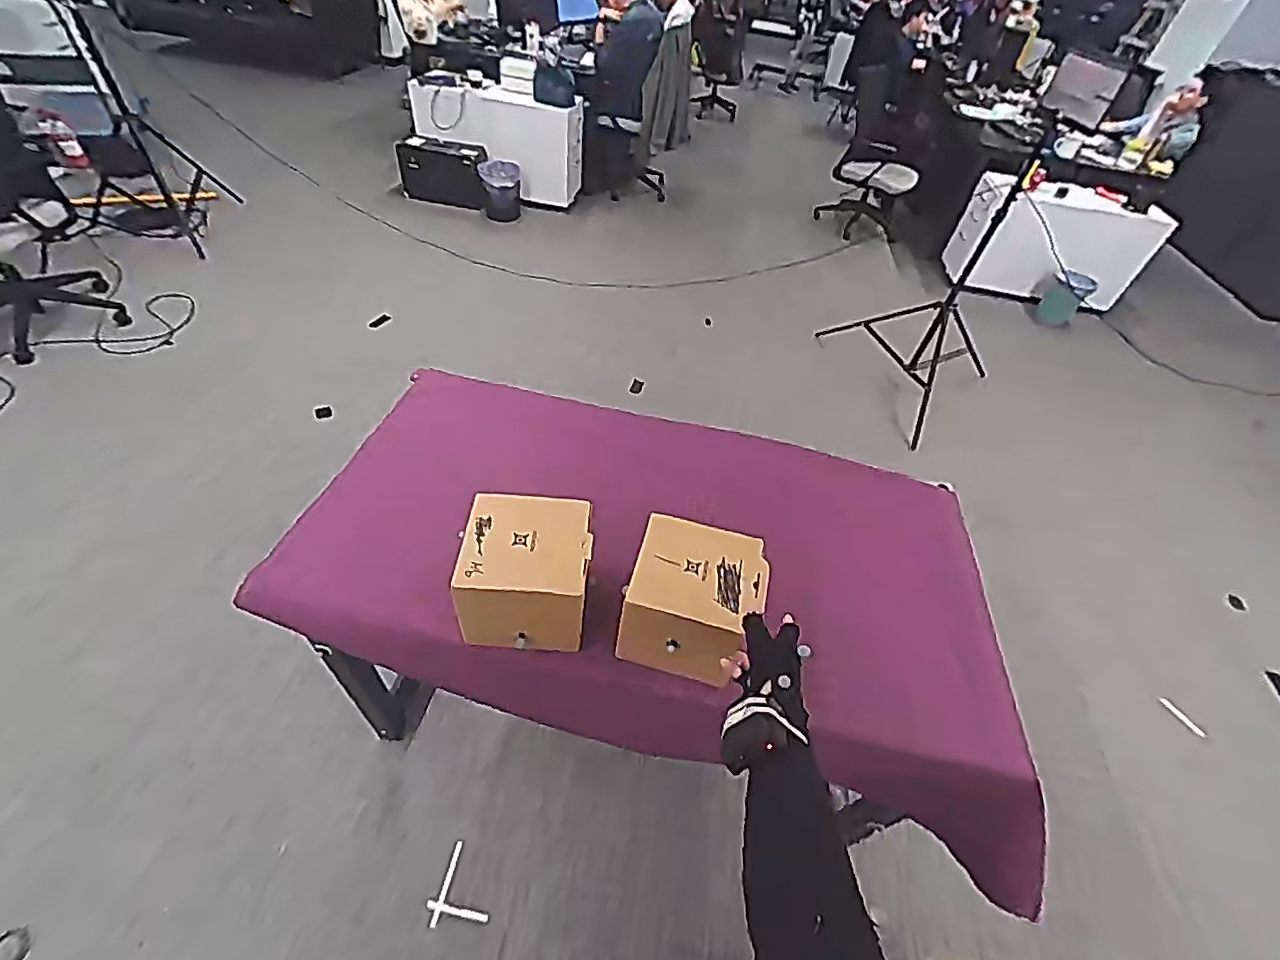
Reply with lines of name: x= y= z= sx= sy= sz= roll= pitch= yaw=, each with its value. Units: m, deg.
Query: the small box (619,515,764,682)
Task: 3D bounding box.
small box: x=0.075 y=0.184 z=0.824 sx=0.179 sy=0.176 sz=0.168 roll=14 pitch=46 yaw=6

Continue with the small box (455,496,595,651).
small box: x=-0.166 y=0.146 z=0.825 sx=0.179 sy=0.176 sz=0.168 roll=5 pitch=45 yaw=-5
